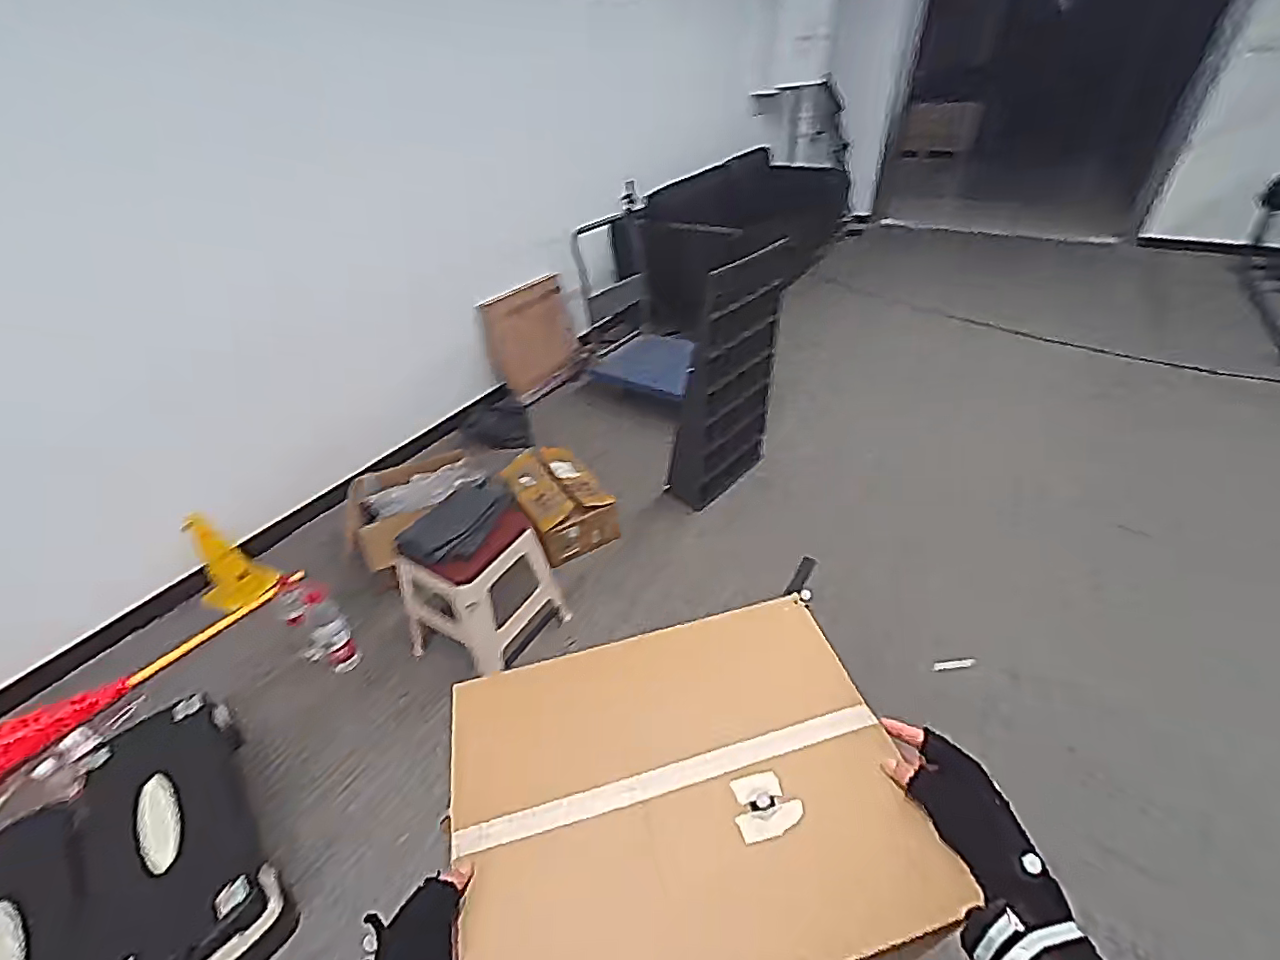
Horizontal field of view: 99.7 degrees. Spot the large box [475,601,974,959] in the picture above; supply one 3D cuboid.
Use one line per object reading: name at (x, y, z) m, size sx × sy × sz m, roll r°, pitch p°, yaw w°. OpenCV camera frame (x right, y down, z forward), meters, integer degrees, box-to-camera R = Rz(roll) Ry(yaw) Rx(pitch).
large box at (0.054, 0.395, 0.612) m, size 0.408 × 0.320 × 0.320 m, roll -12°, pitch 41°, yaw -8°
